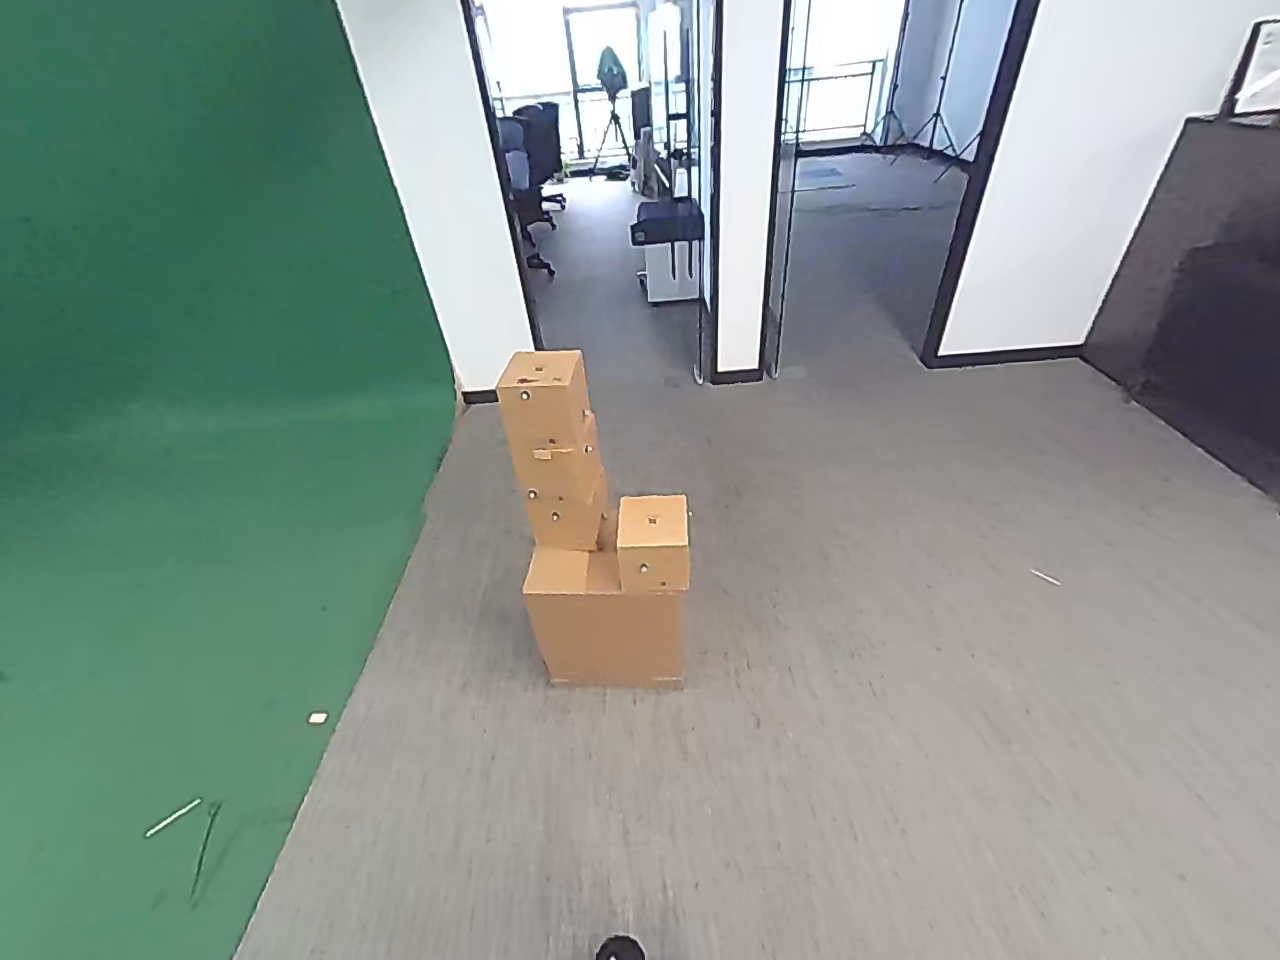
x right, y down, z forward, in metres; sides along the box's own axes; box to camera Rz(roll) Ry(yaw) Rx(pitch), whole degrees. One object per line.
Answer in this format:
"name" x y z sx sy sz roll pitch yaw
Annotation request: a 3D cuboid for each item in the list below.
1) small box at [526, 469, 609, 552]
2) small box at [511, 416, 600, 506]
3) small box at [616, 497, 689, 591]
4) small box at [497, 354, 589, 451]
"small box" -0.191 0.080 1.479 0.179 0.176 0.168 4 39 9
"small box" -0.206 -0.051 1.380 0.168 0.176 0.179 4 37 12
"small box" 0.035 0.163 1.346 0.168 0.176 0.179 -2 38 4
"small box" -0.221 -0.186 1.285 0.168 0.176 0.179 -1 37 7
